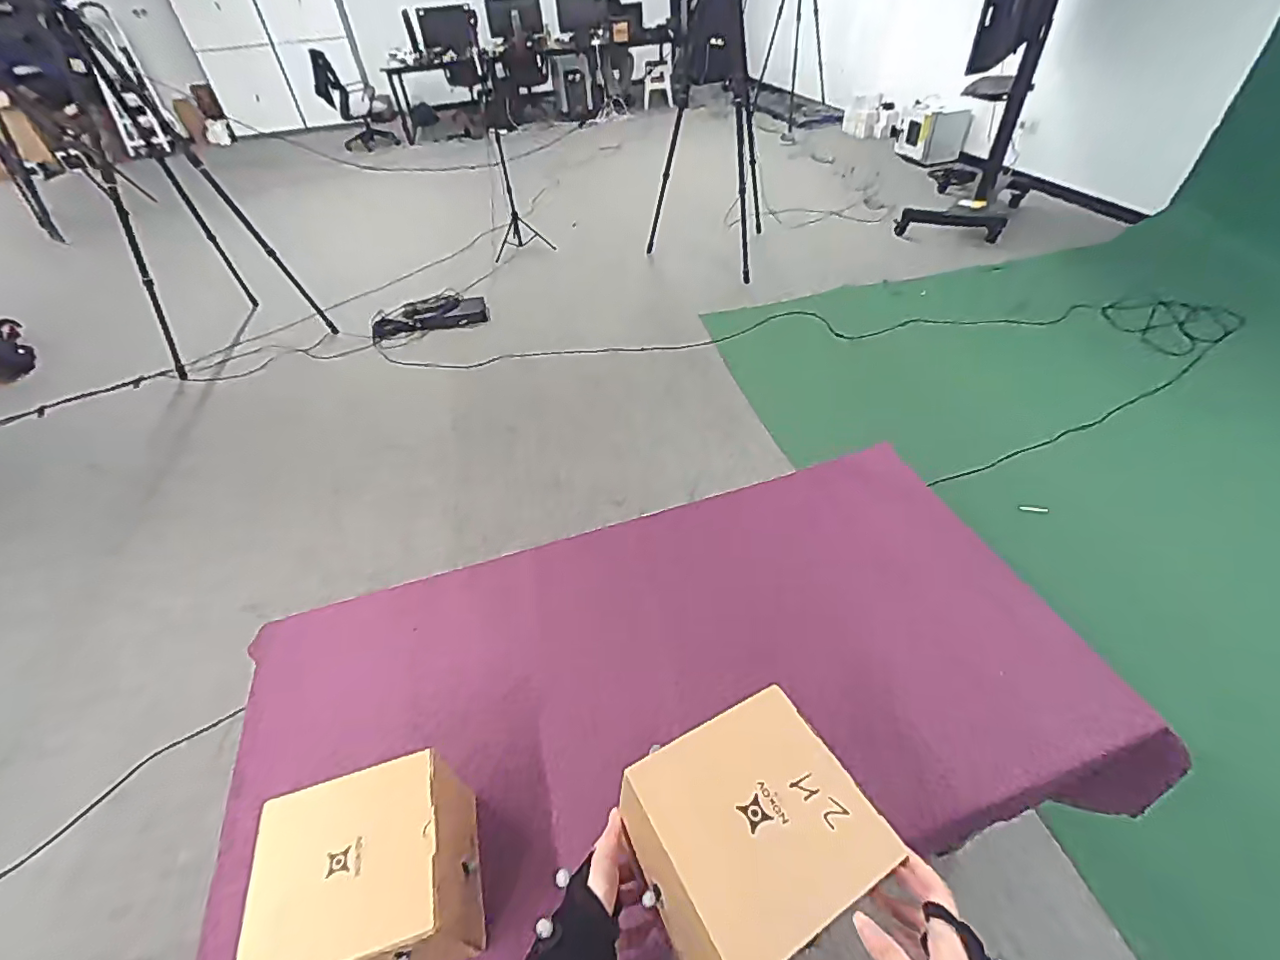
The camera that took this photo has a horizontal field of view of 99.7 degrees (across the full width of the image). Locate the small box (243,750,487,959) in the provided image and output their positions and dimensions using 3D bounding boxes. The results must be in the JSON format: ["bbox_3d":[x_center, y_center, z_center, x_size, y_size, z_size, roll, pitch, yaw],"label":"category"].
[{"bbox_3d":[-0.279,0.430,0.584,0.179,0.176,0.168,-14,45,-10],"label":"small box"}]
